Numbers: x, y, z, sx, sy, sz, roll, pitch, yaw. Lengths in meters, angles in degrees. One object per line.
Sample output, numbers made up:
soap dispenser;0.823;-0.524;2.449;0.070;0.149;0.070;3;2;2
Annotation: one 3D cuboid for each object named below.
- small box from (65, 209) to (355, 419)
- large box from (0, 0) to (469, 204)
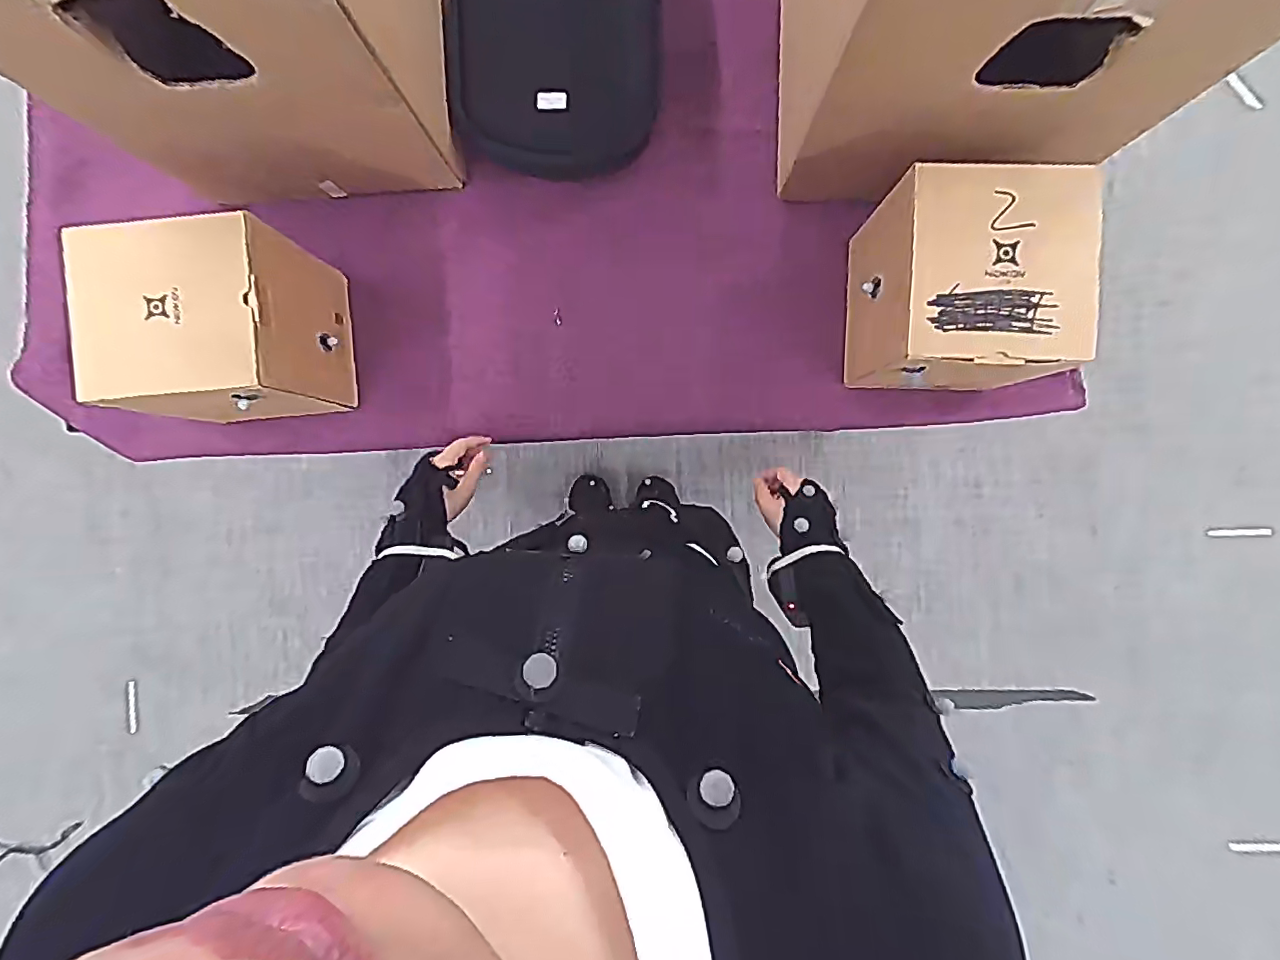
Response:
small box;-0.441;-0.162;0.581;0.179;0.176;0.168;-6;90;0
large box;-0.374;-0.538;0.505;0.320;0.320;0.408;-4;93;2
